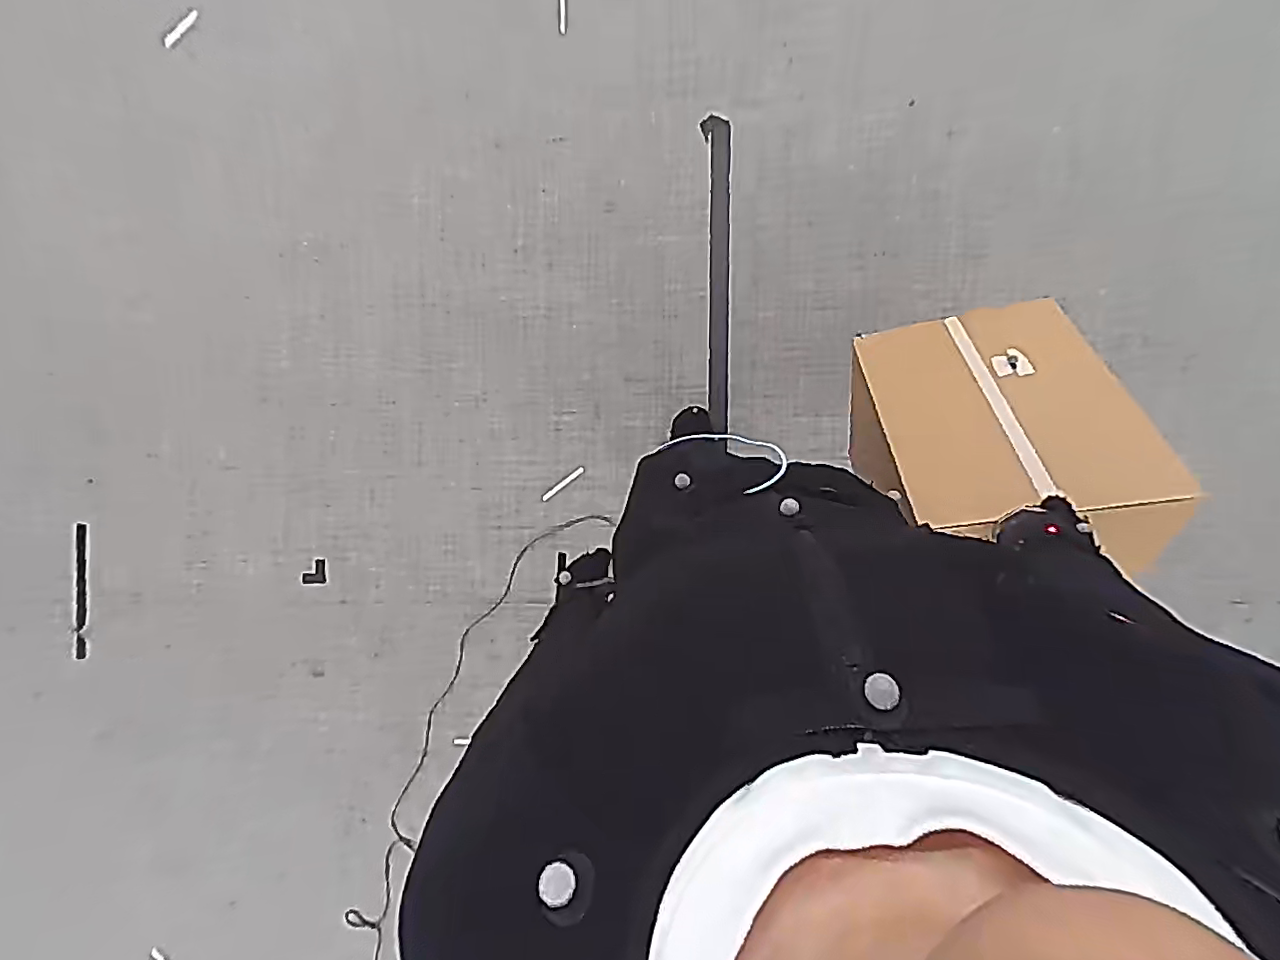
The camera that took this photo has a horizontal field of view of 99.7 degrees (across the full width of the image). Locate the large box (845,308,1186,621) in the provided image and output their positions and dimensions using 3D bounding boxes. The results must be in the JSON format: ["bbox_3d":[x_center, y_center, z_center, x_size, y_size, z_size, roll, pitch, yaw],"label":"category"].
[{"bbox_3d":[0.556,-0.022,0.918,0.320,0.320,0.408,-8,49,11],"label":"large box"}]
